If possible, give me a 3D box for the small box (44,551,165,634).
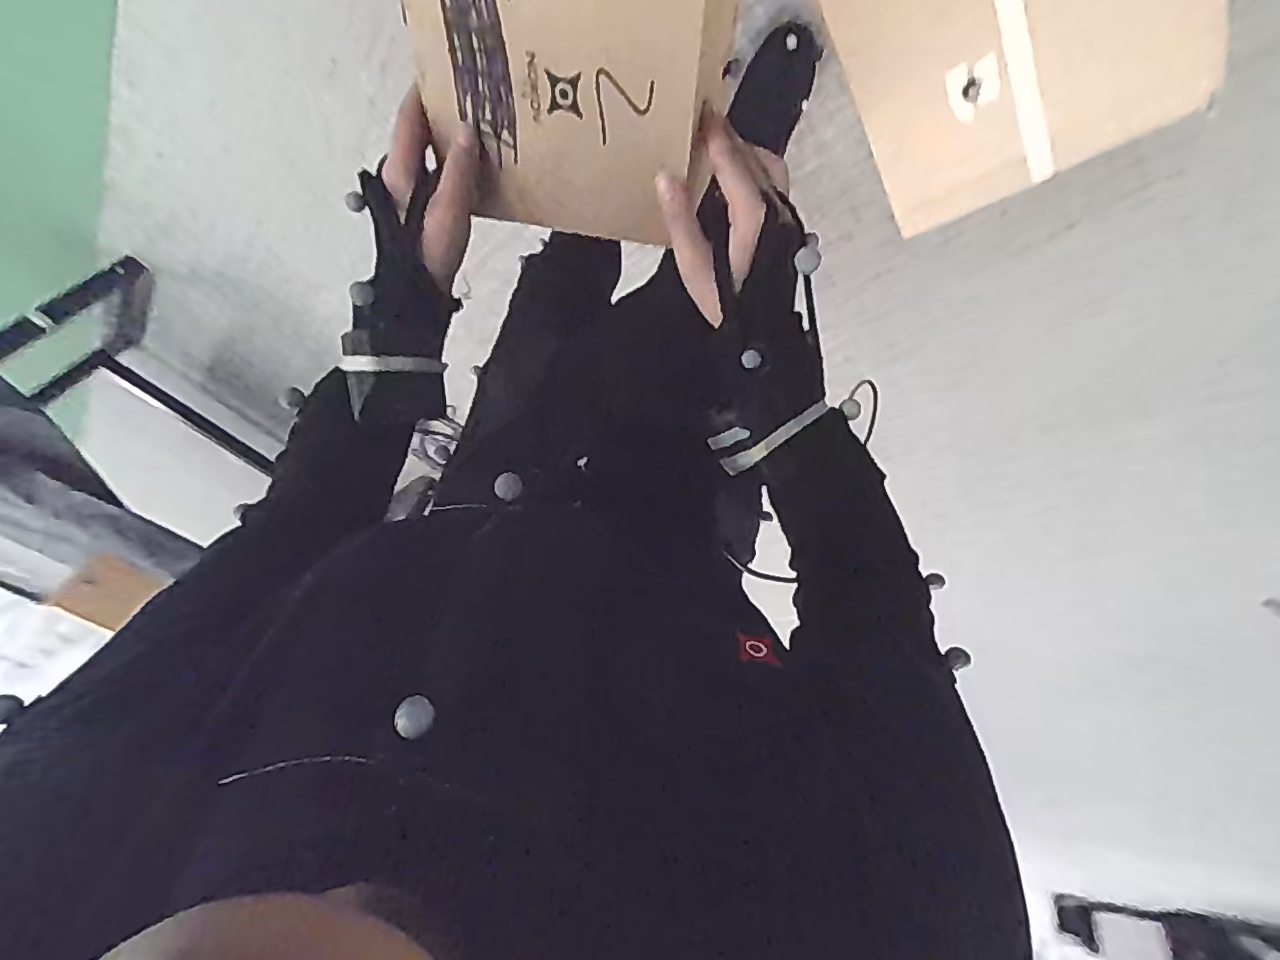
[{"bbox_3d":[-1.512,0.315,1.531,0.168,0.176,0.179,-21,128,42],"label":"small box"}]

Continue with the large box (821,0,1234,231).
[{"bbox_3d":[0.406,-0.600,0.624,0.320,0.320,0.408,-14,132,37],"label":"large box"}]
